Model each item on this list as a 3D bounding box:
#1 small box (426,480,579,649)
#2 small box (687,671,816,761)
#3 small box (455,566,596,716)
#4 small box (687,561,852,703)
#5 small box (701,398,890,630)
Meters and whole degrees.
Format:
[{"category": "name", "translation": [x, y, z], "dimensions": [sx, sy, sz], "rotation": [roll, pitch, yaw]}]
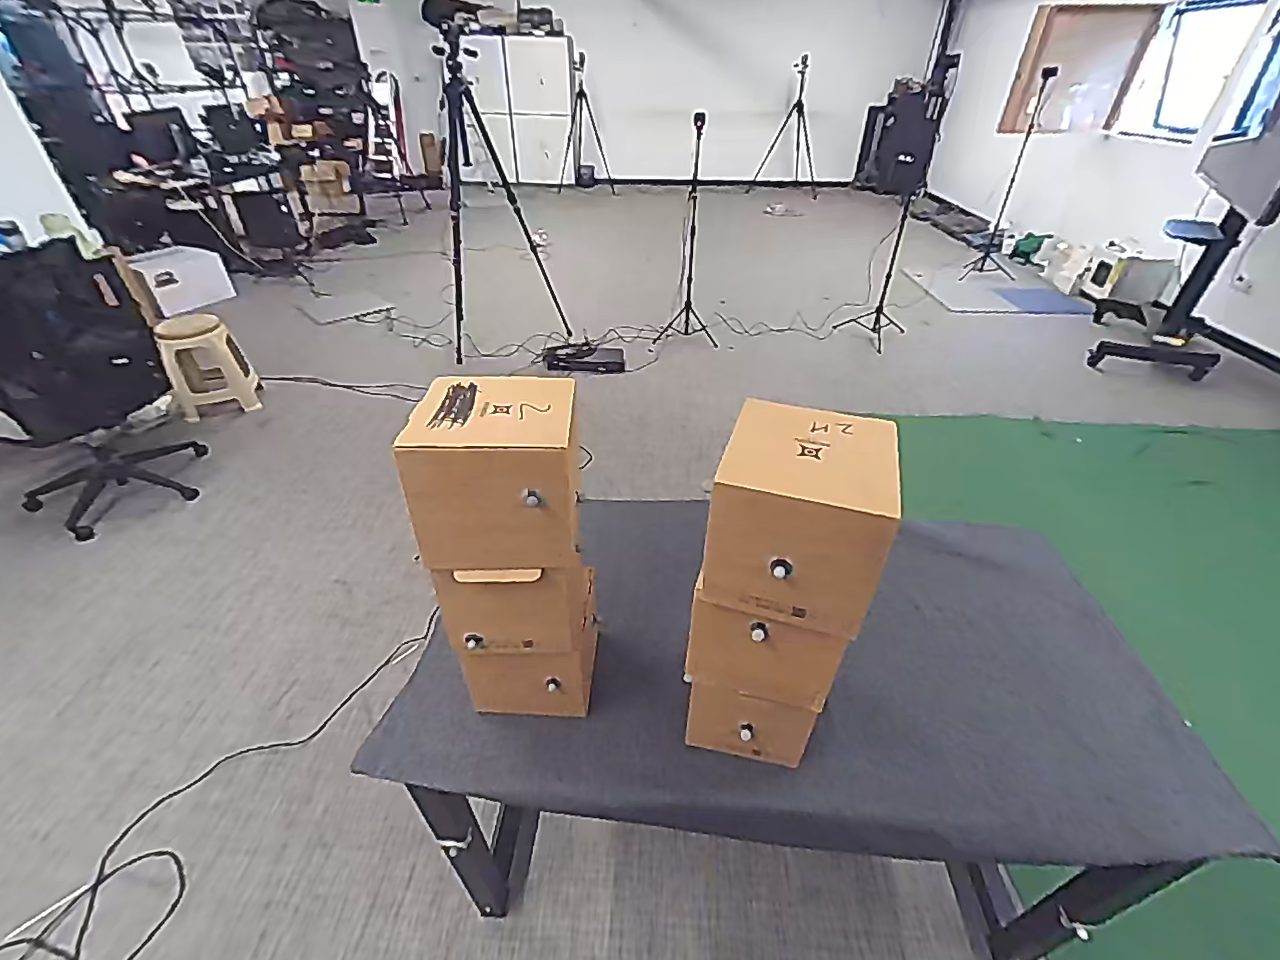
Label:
[{"category": "small box", "translation": [-0.174, 0.118, 0.751], "dimensions": [0.168, 0.176, 0.179], "rotation": [-1, 35, -2]}, {"category": "small box", "translation": [0.163, 0.283, 0.802], "dimensions": [0.168, 0.176, 0.179], "rotation": [7, 38, 10]}, {"category": "small box", "translation": [-0.165, 0.250, 0.850], "dimensions": [0.179, 0.176, 0.168], "rotation": [1, 35, 2]}, {"category": "small box", "translation": [0.165, 0.158, 0.697], "dimensions": [0.179, 0.176, 0.168], "rotation": [10, 38, 15]}, {"category": "small box", "translation": [0.165, 0.033, 0.588], "dimensions": [0.168, 0.176, 0.179], "rotation": [11, 38, 16]}]
